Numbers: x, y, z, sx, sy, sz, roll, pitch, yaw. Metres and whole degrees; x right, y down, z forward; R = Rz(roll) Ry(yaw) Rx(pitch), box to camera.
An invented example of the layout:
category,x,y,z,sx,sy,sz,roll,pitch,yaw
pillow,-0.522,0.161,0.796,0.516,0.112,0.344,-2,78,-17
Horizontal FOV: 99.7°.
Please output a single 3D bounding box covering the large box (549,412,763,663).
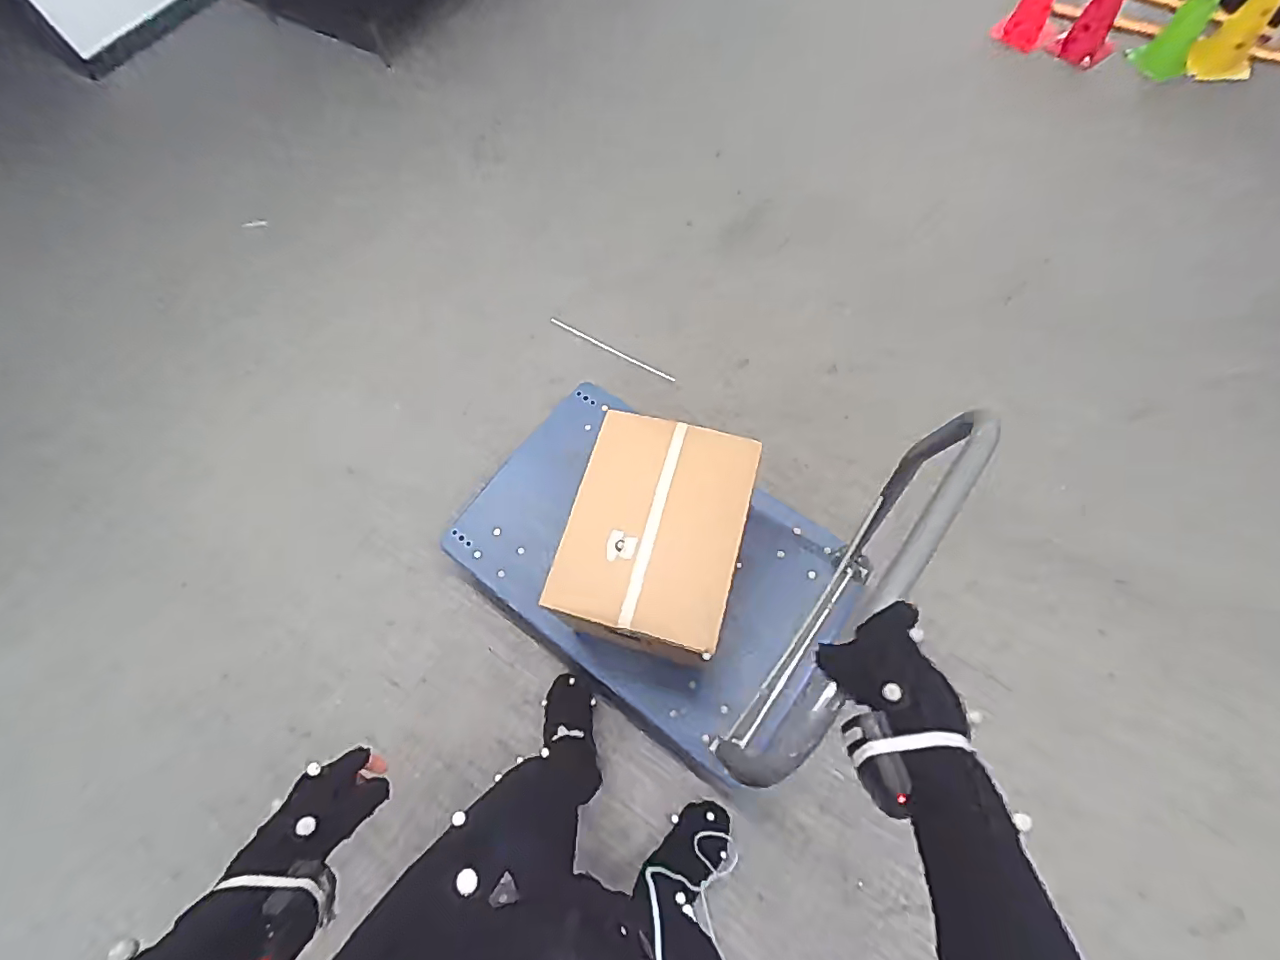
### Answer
category,x,y,z,sx,sy,sz,roll,pitch,yaw
large box,0.047,0.129,1.119,0.320,0.320,0.408,14,70,10
